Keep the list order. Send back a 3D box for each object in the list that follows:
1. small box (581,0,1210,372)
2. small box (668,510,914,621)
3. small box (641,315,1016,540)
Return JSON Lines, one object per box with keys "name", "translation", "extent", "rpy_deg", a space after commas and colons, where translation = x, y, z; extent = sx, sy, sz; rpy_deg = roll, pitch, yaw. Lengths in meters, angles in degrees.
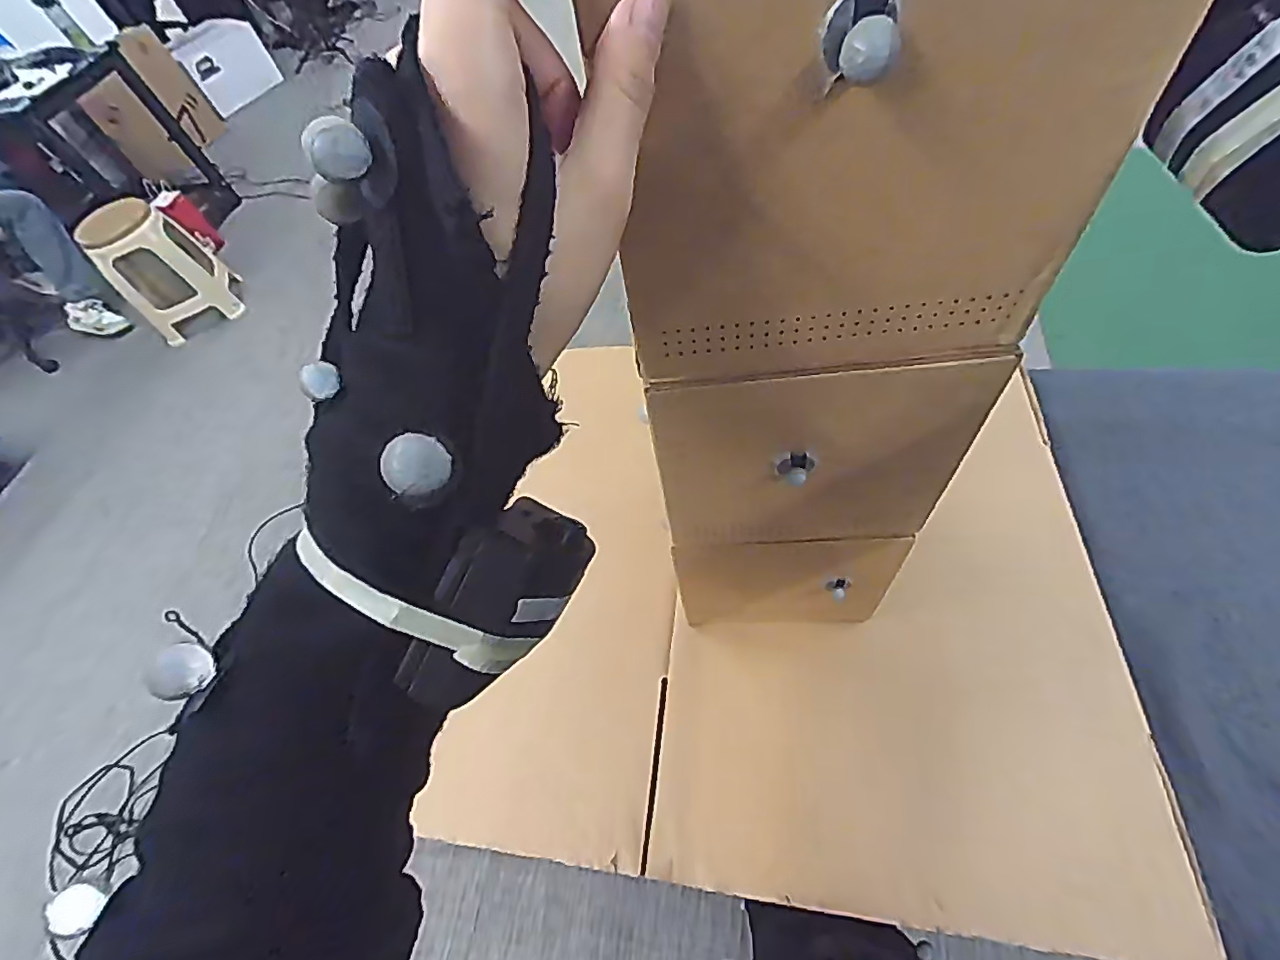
{"name": "small box", "translation": [0.078, -0.167, 0.234], "extent": [0.179, 0.176, 0.168], "rpy_deg": [-5, 55, 7]}
{"name": "small box", "translation": [0.120, 0.023, 0.497], "extent": [0.179, 0.176, 0.168], "rpy_deg": [-4, 55, 8]}
{"name": "small box", "translation": [0.098, -0.071, 0.364], "extent": [0.179, 0.176, 0.168], "rpy_deg": [-4, 55, 7]}
